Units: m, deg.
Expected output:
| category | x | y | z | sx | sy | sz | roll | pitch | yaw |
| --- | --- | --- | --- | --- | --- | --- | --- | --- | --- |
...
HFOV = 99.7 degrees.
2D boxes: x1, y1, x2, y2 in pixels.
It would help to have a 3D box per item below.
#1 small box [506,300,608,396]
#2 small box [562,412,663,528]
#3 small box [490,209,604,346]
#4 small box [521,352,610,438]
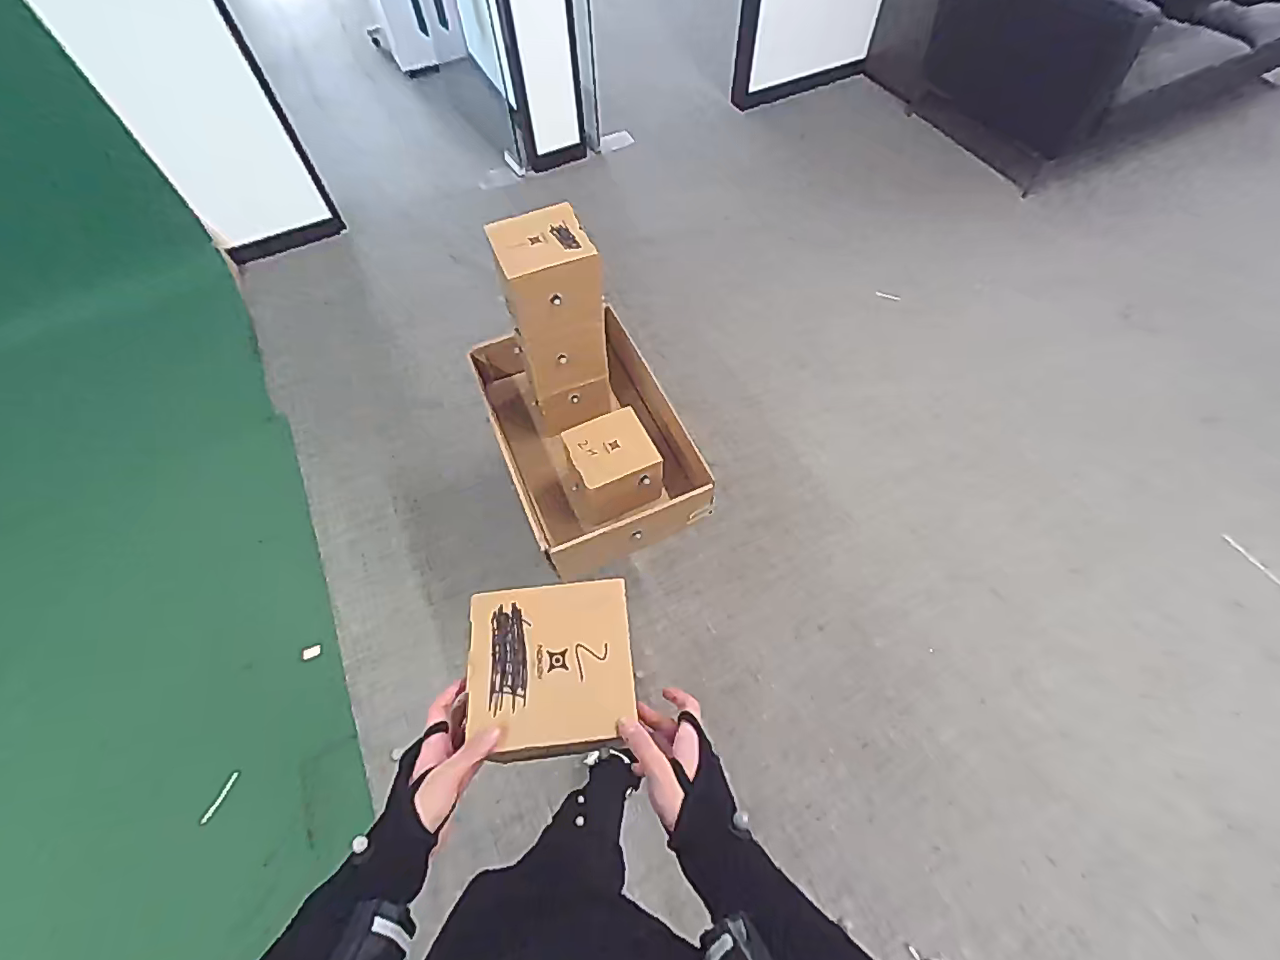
| category | x | y | z | sx | sy | sz | roll | pitch | yaw |
| --- | --- | --- | --- | --- | --- | --- | --- | --- | --- |
| small box | -0.181 | -0.315 | 1.218 | 0.179 | 0.176 | 0.168 | -20 | 63 | -11 |
| small box | -0.063 | -0.019 | 1.230 | 0.179 | 0.176 | 0.168 | -22 | 61 | -13 |
| small box | -0.178 | -0.397 | 1.075 | 0.179 | 0.176 | 0.168 | -20 | 63 | -11 |
| small box | -0.183 | -0.230 | 1.358 | 0.179 | 0.176 | 0.168 | -18 | 62 | -12 |
